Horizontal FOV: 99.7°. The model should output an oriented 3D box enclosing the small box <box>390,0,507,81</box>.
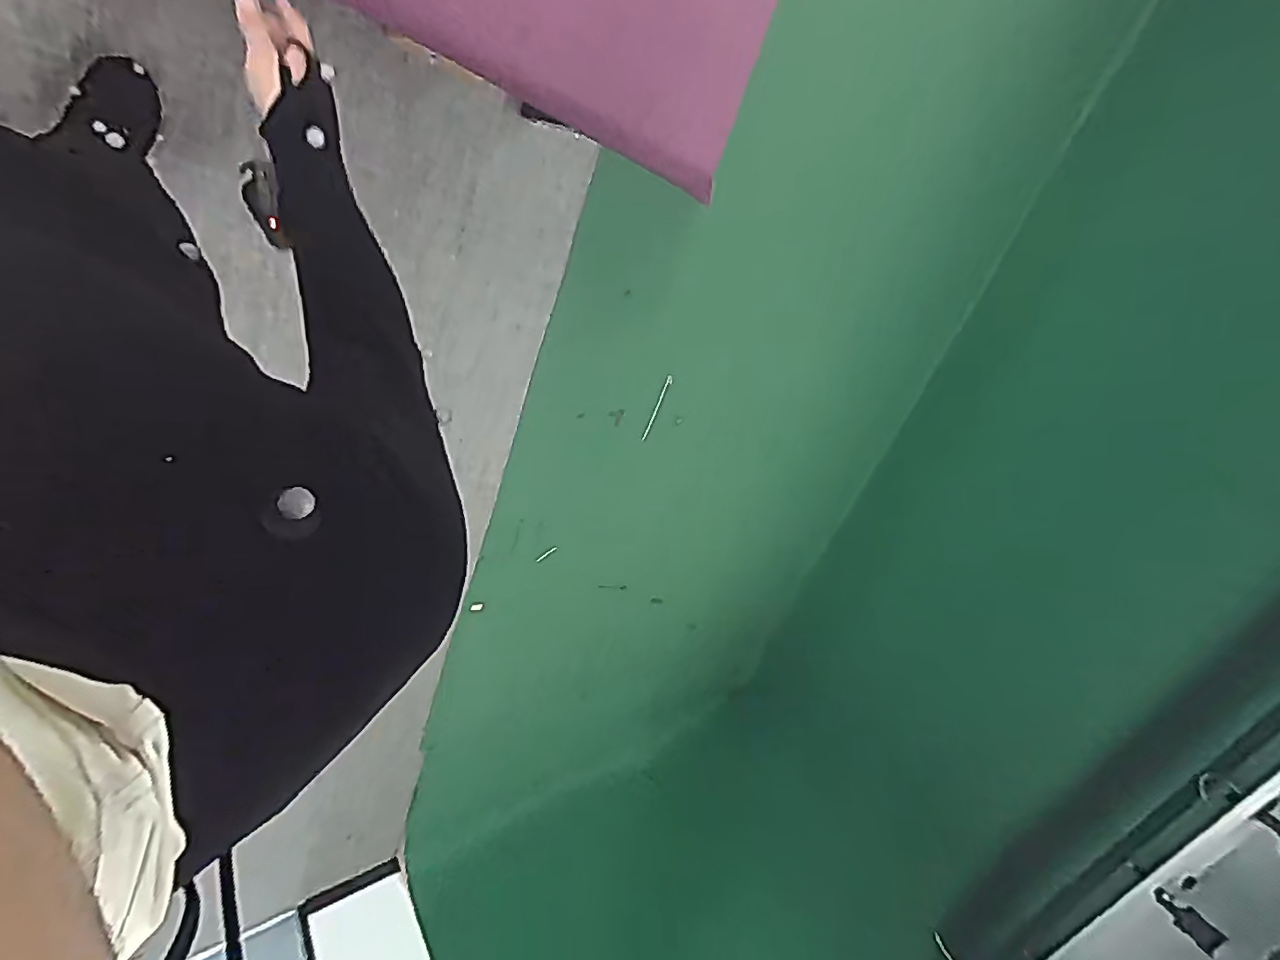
[{"bbox_3d":[-0.425,-1.009,1.181,0.179,0.176,0.168,3,120,-44],"label":"small box"}]
